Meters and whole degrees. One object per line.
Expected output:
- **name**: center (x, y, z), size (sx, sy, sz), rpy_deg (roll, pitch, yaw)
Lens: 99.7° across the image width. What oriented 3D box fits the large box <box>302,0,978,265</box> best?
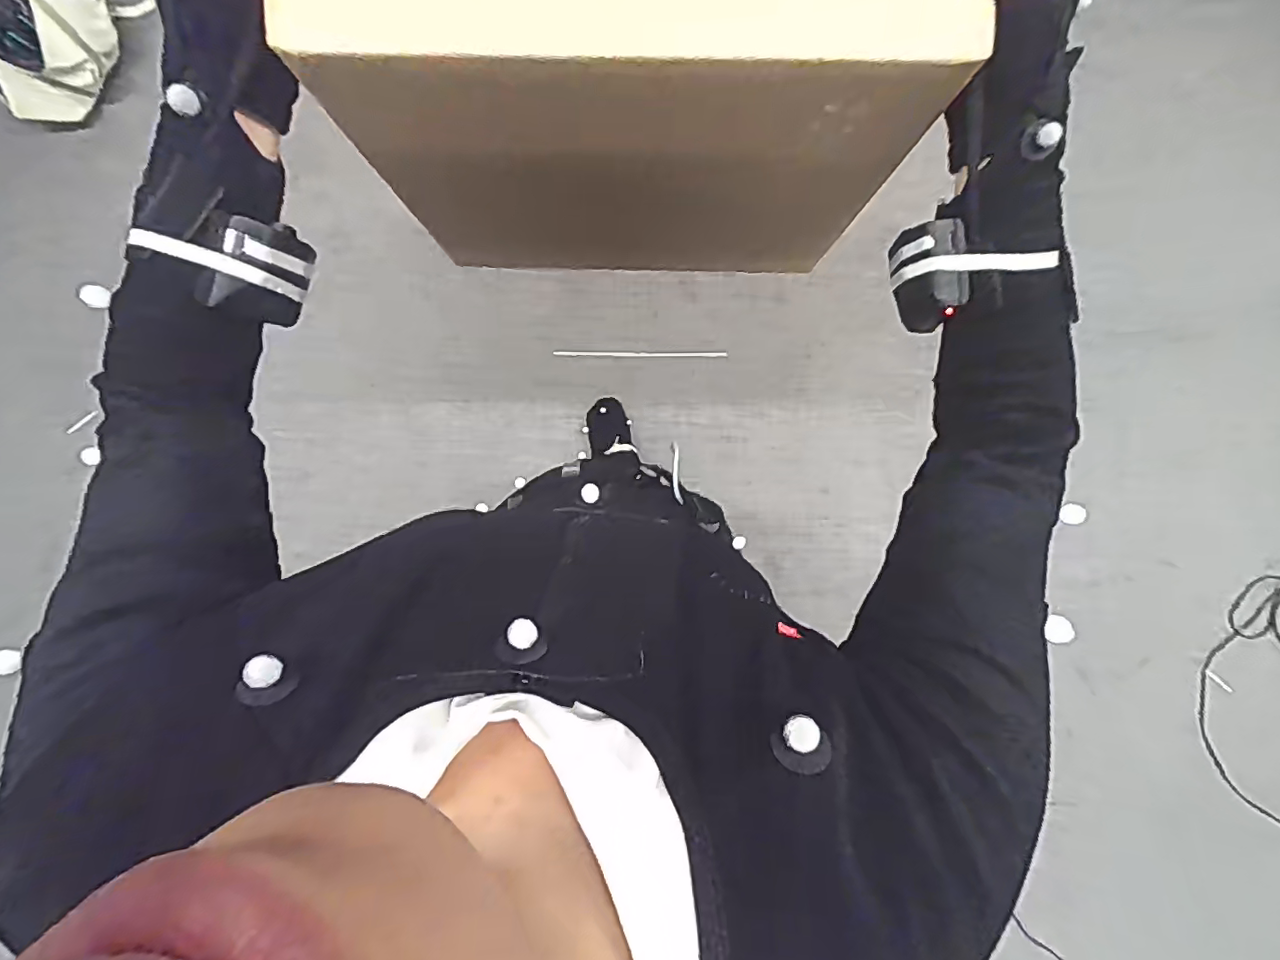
- **large box**: center (-0.003, -0.398, 0.467), size (0.408, 0.320, 0.320), rpy_deg (0, 90, -2)
